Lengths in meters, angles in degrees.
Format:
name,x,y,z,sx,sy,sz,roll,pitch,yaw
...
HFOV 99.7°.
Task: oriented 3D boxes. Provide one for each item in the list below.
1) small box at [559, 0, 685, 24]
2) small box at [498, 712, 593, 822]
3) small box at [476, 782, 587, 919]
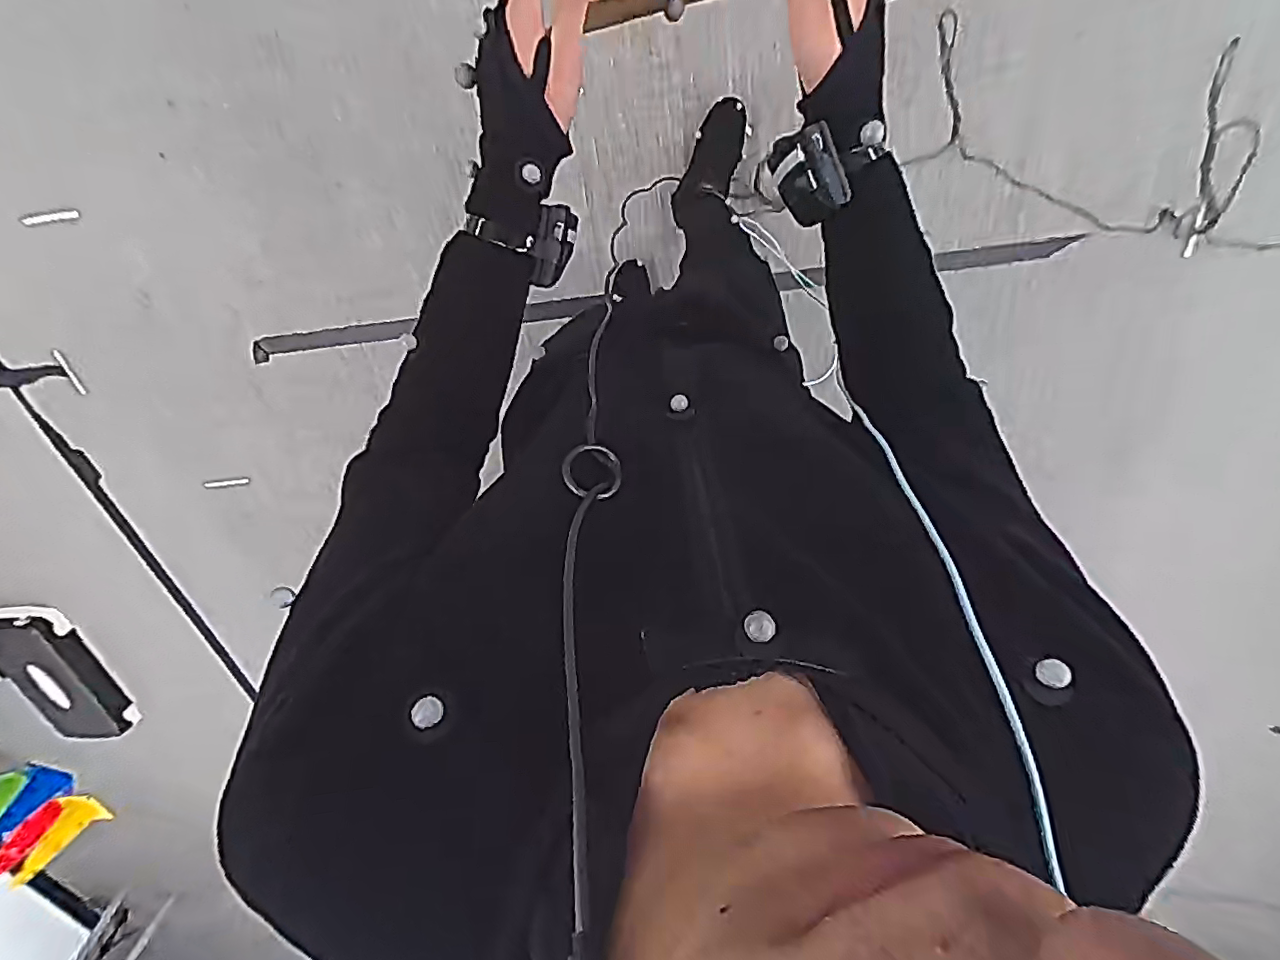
name,x,y,z,sx,sy,sz,roll,pitch,yaw
small box,0.010,-0.447,0.375,0.179,0.176,0.168,-13,126,2
small box,-0.202,0.637,1.204,0.168,0.176,0.179,-6,120,4
small box,-0.202,0.728,1.068,0.168,0.176,0.179,-6,120,3
